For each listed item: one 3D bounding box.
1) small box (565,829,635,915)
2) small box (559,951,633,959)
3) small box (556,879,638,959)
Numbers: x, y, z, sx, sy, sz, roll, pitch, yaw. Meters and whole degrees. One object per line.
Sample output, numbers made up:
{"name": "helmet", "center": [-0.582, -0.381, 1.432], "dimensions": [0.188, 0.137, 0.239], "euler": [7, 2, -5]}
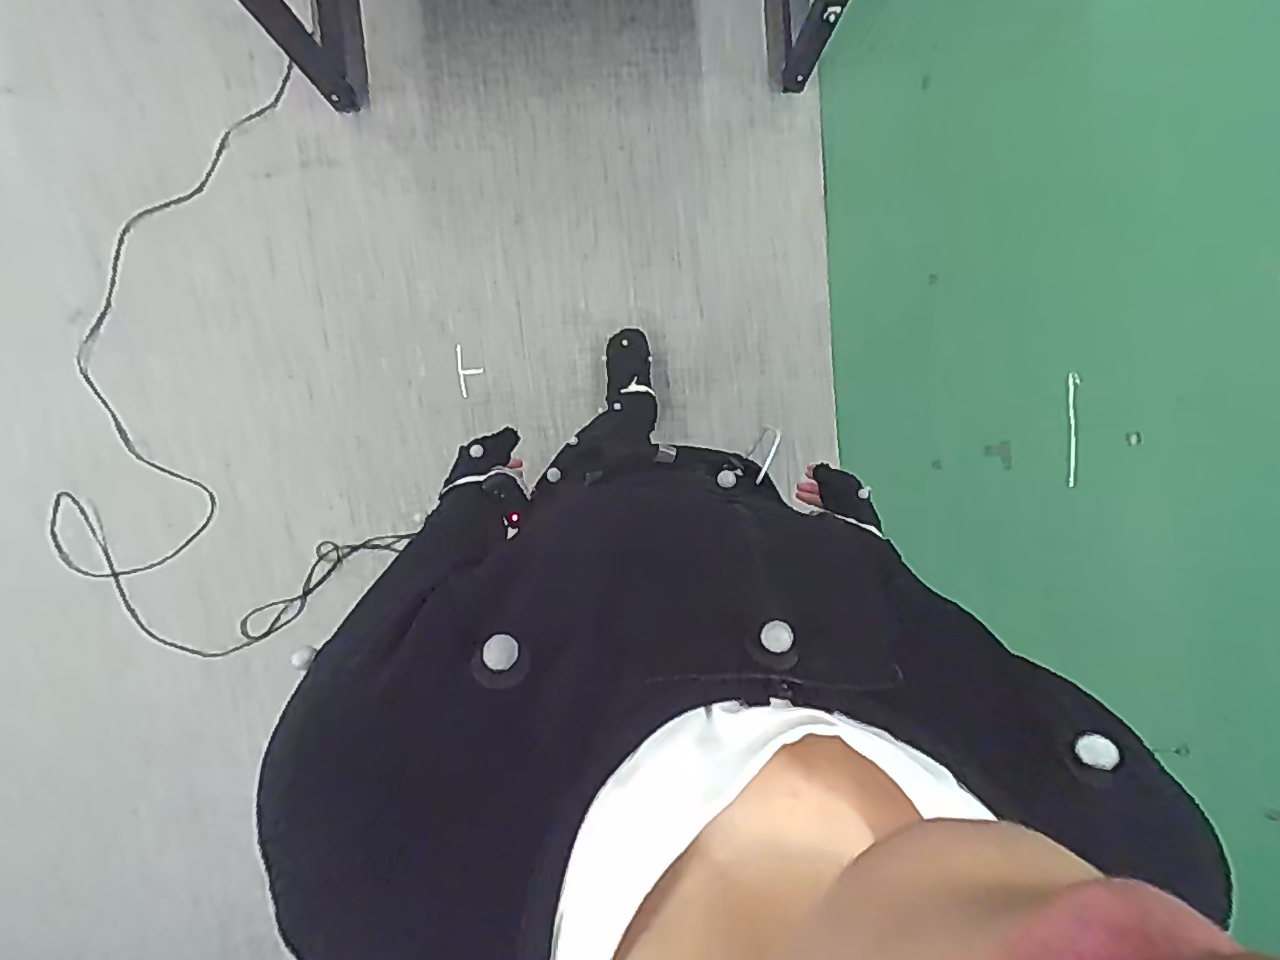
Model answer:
{"name": "small box", "center": [-0.099, 1.064, 1.422], "dimensions": [0.168, 0.176, 0.179], "euler": [-5, 96, -2]}
{"name": "small box", "center": [-0.087, 1.107, 1.099], "dimensions": [0.168, 0.176, 0.179], "euler": [-8, 97, 0]}
{"name": "small box", "center": [-0.094, 1.083, 1.261], "dimensions": [0.168, 0.176, 0.179], "euler": [-6, 96, -1]}
